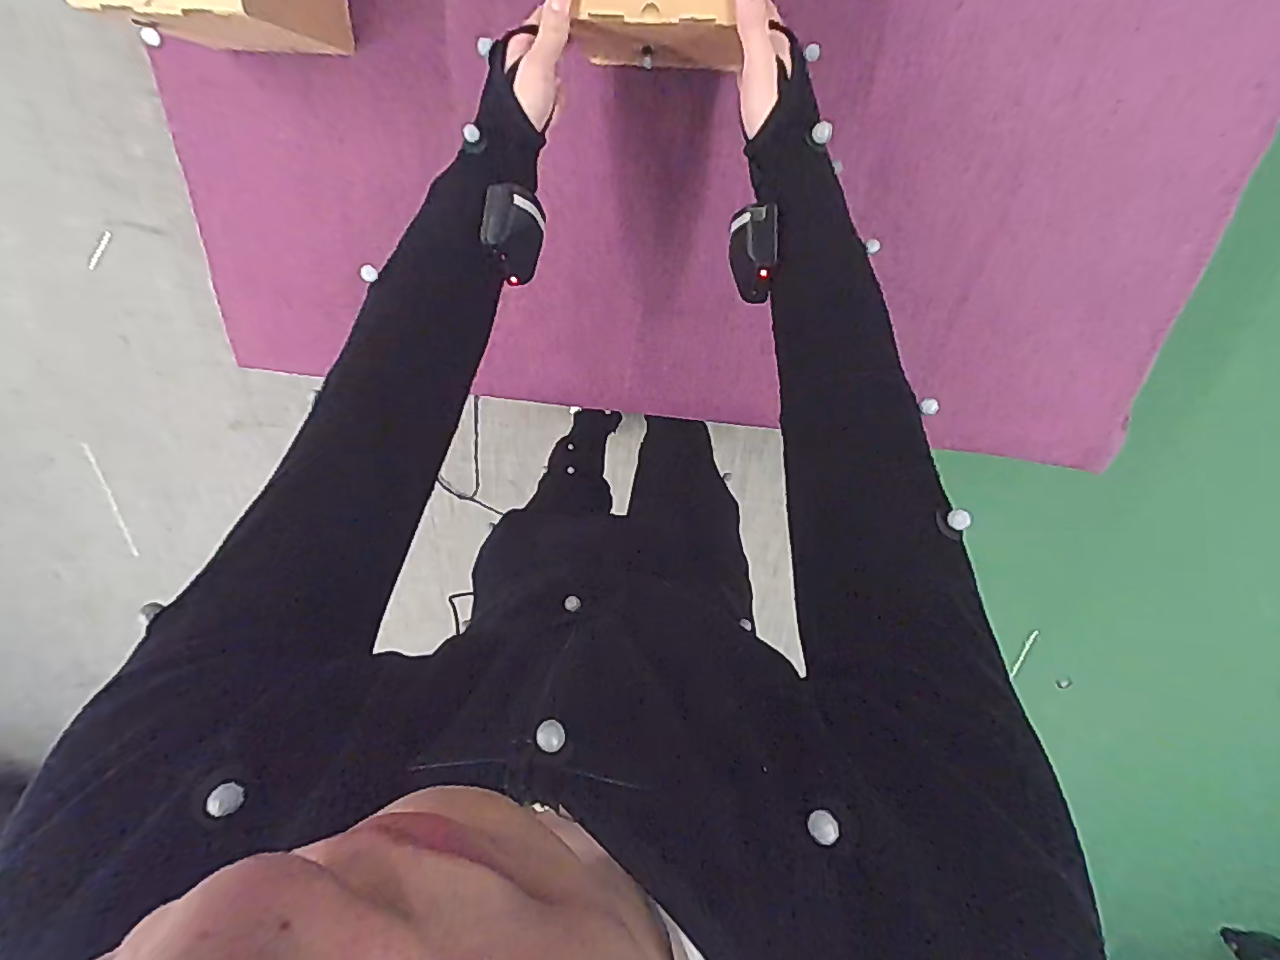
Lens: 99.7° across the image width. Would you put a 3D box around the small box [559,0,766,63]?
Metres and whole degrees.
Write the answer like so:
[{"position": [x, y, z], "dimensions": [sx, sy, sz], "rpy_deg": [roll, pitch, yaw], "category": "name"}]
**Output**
[{"position": [0.028, -0.478, 0.452], "dimensions": [0.168, 0.176, 0.179], "rpy_deg": [6, 120, 3], "category": "small box"}]
